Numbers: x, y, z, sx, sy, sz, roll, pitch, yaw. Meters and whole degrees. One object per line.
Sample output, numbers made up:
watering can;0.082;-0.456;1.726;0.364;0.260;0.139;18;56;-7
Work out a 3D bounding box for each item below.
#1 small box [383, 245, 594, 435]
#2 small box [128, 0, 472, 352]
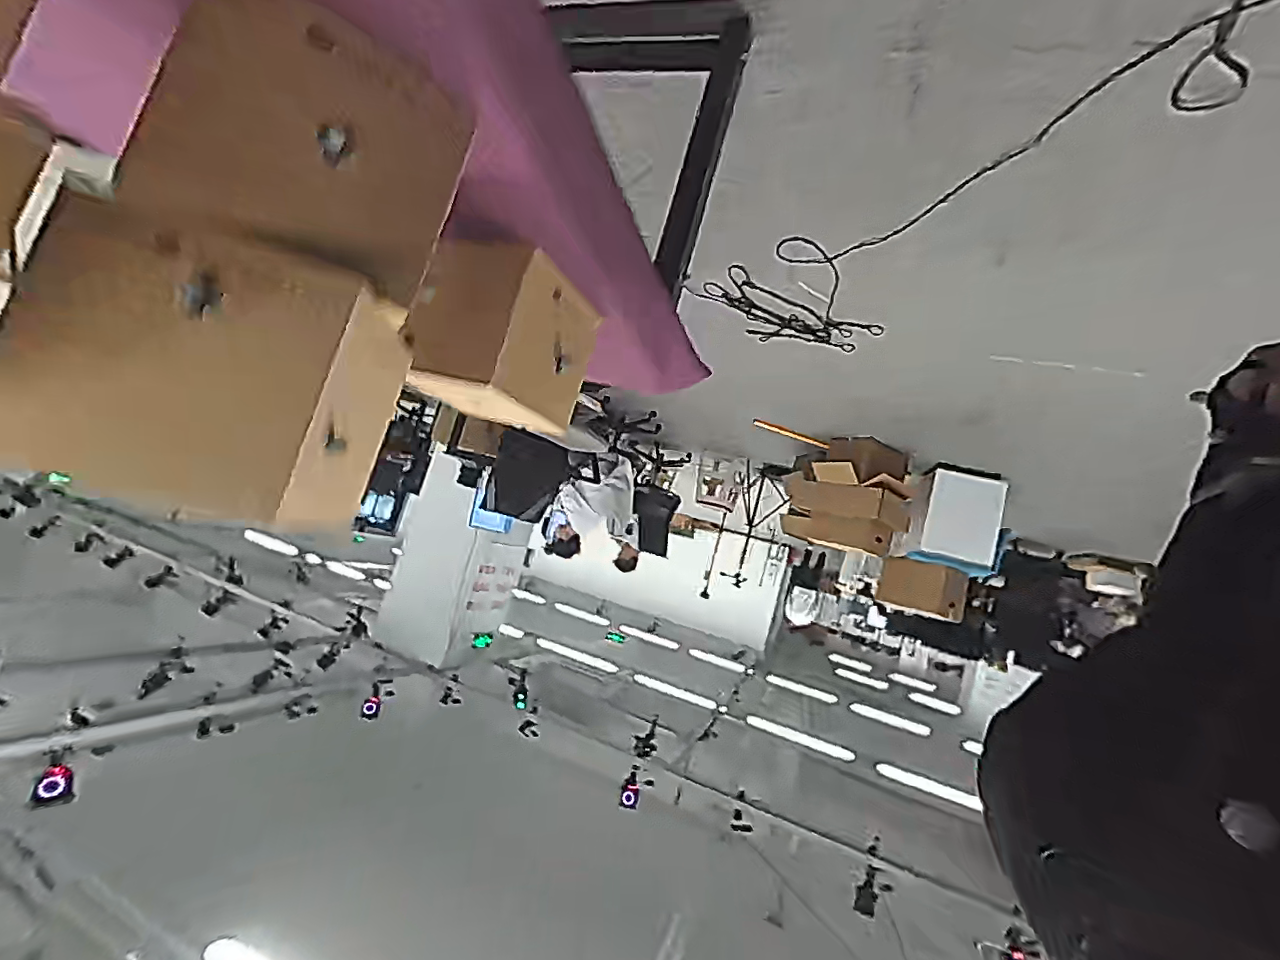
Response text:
small box;-0.173;-0.171;0.671;0.179;0.176;0.168;14;173;25
small box;-0.249;-0.221;0.423;0.168;0.176;0.179;21;172;-33
